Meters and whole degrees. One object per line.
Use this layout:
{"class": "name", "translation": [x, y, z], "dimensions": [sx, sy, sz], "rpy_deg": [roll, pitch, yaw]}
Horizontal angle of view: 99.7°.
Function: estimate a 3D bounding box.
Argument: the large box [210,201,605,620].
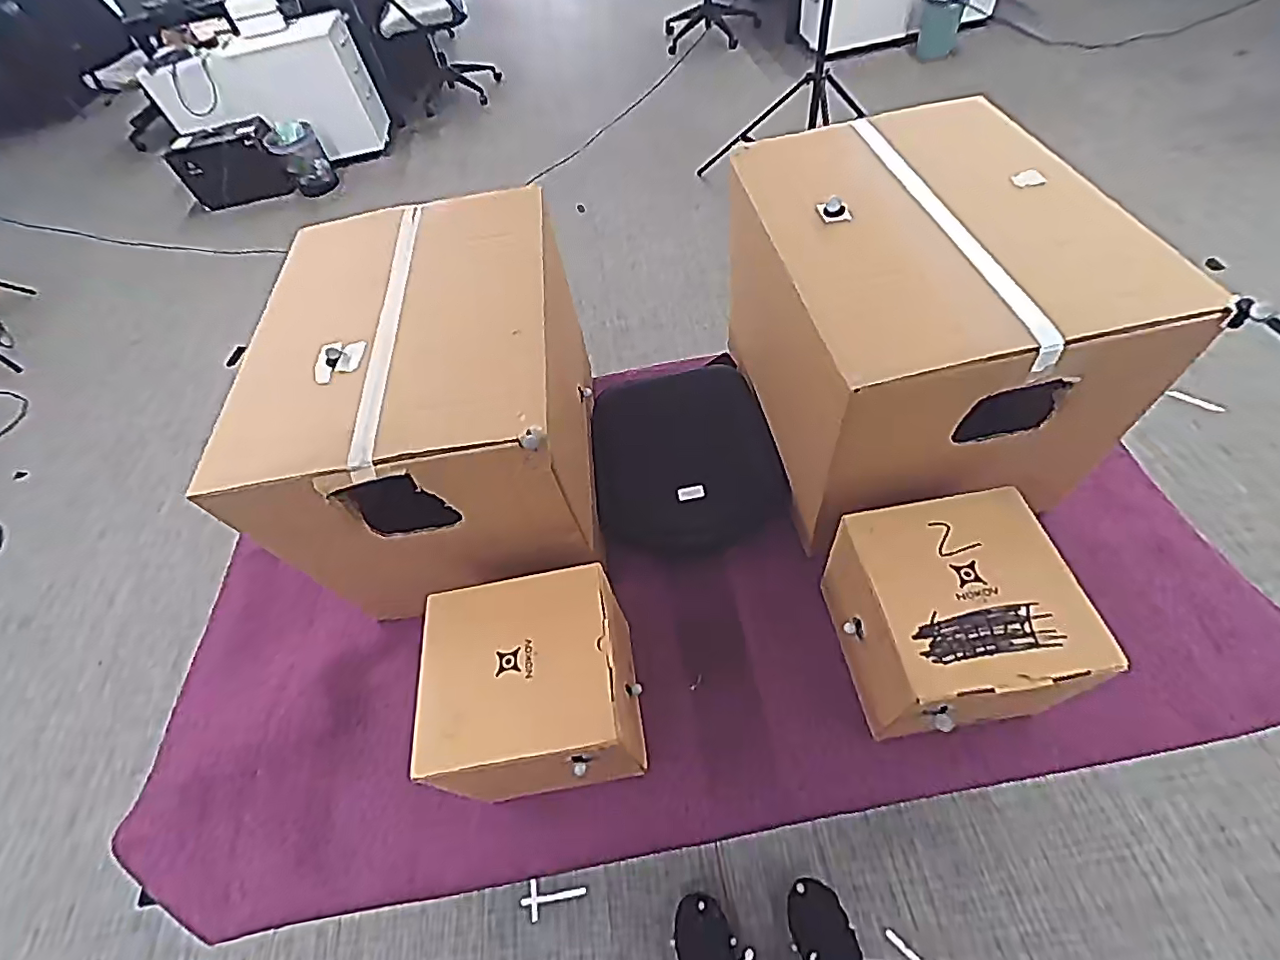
{"class": "large box", "translation": [-0.235, -0.080, 0.694], "dimensions": [0.320, 0.320, 0.408], "rpy_deg": [-10, 57, 3]}
